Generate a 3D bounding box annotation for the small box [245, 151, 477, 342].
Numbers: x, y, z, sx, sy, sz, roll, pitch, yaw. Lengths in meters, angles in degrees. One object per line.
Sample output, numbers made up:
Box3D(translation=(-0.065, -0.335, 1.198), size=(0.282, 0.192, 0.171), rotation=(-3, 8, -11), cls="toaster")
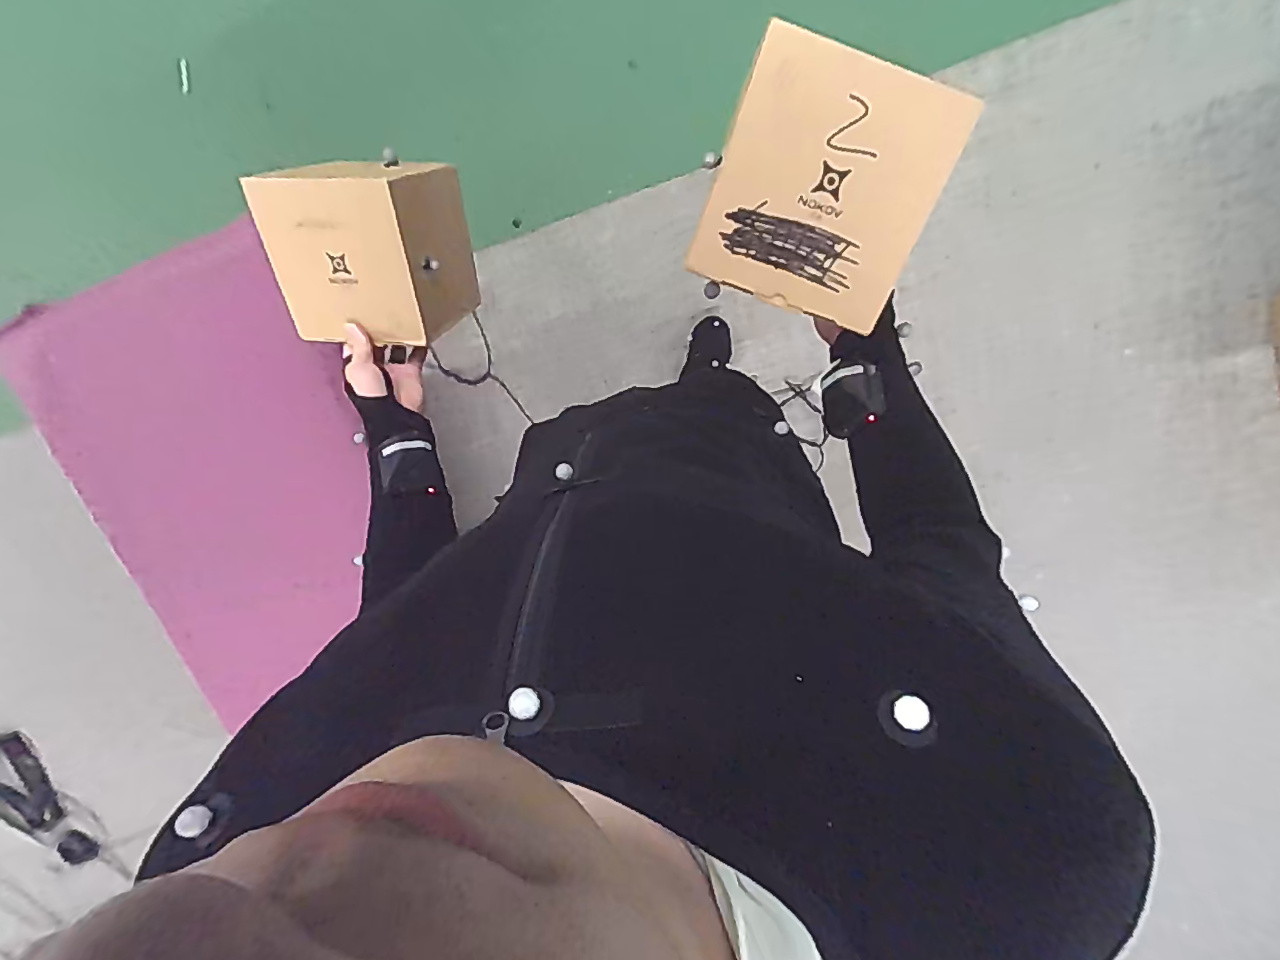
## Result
Box3D(translation=(-0.313, -0.287, 0.656), size=(0.168, 0.176, 0.179), rotation=(6, 126, 6), cls="small box")
